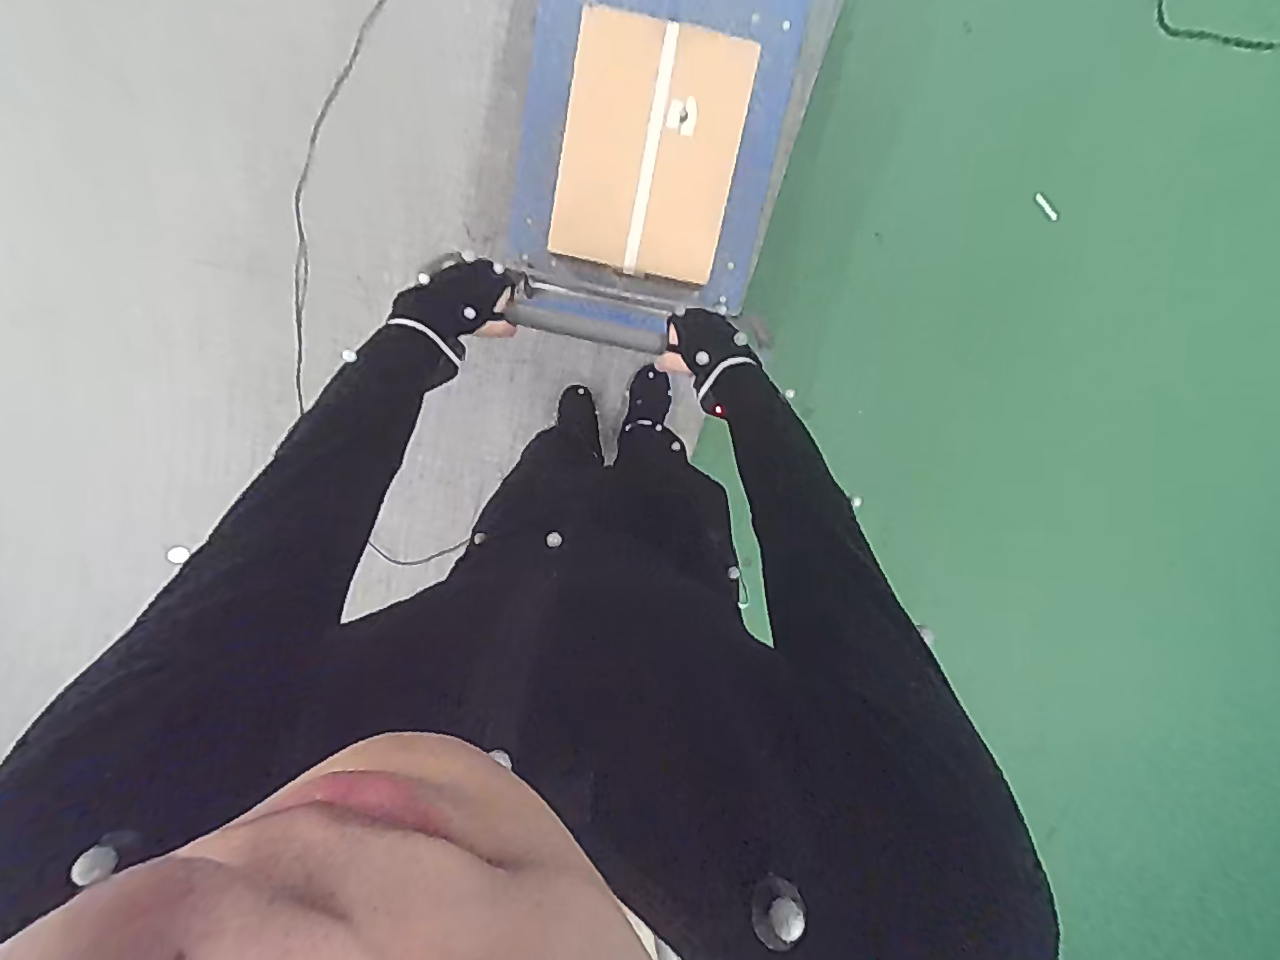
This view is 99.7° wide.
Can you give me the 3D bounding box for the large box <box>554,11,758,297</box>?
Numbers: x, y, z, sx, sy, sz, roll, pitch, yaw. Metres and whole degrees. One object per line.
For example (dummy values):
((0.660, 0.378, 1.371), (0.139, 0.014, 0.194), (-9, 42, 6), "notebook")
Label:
((0.023, -0.623, 1.122), (0.320, 0.320, 0.408), (11, 104, -3), "large box")
